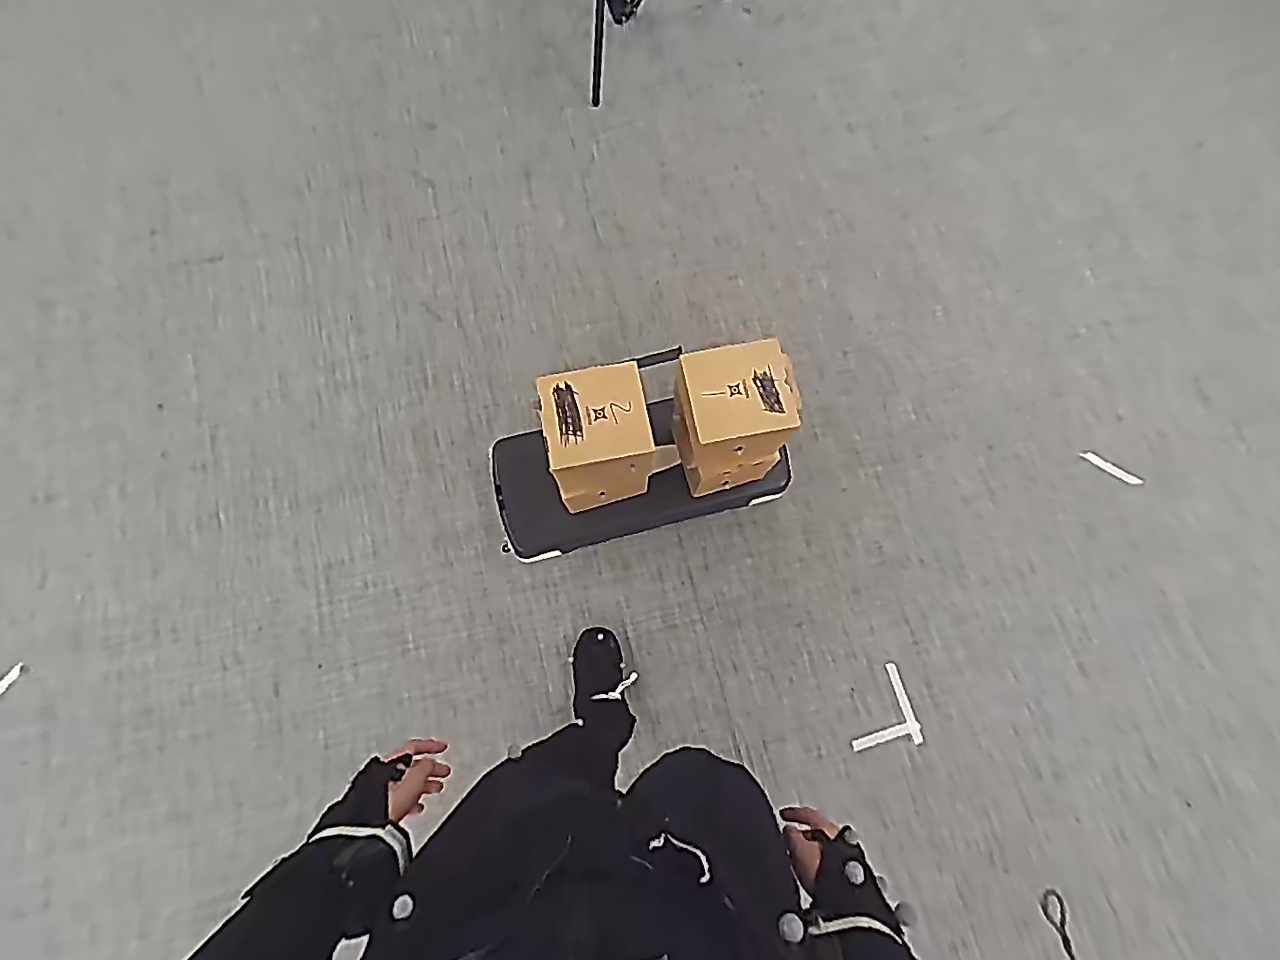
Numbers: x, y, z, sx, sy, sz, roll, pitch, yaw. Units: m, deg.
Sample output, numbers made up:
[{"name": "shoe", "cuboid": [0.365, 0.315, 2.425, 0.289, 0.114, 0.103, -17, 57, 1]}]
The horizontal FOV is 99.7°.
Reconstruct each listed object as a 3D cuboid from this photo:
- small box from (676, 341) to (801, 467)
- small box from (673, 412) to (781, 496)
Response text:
[{"name": "small box", "cuboid": [0.169, -0.131, 0.988, 0.179, 0.176, 0.168, -10, 78, -2]}, {"name": "small box", "cuboid": [0.173, -0.082, 1.145, 0.168, 0.176, 0.179, -16, 78, -5]}]
